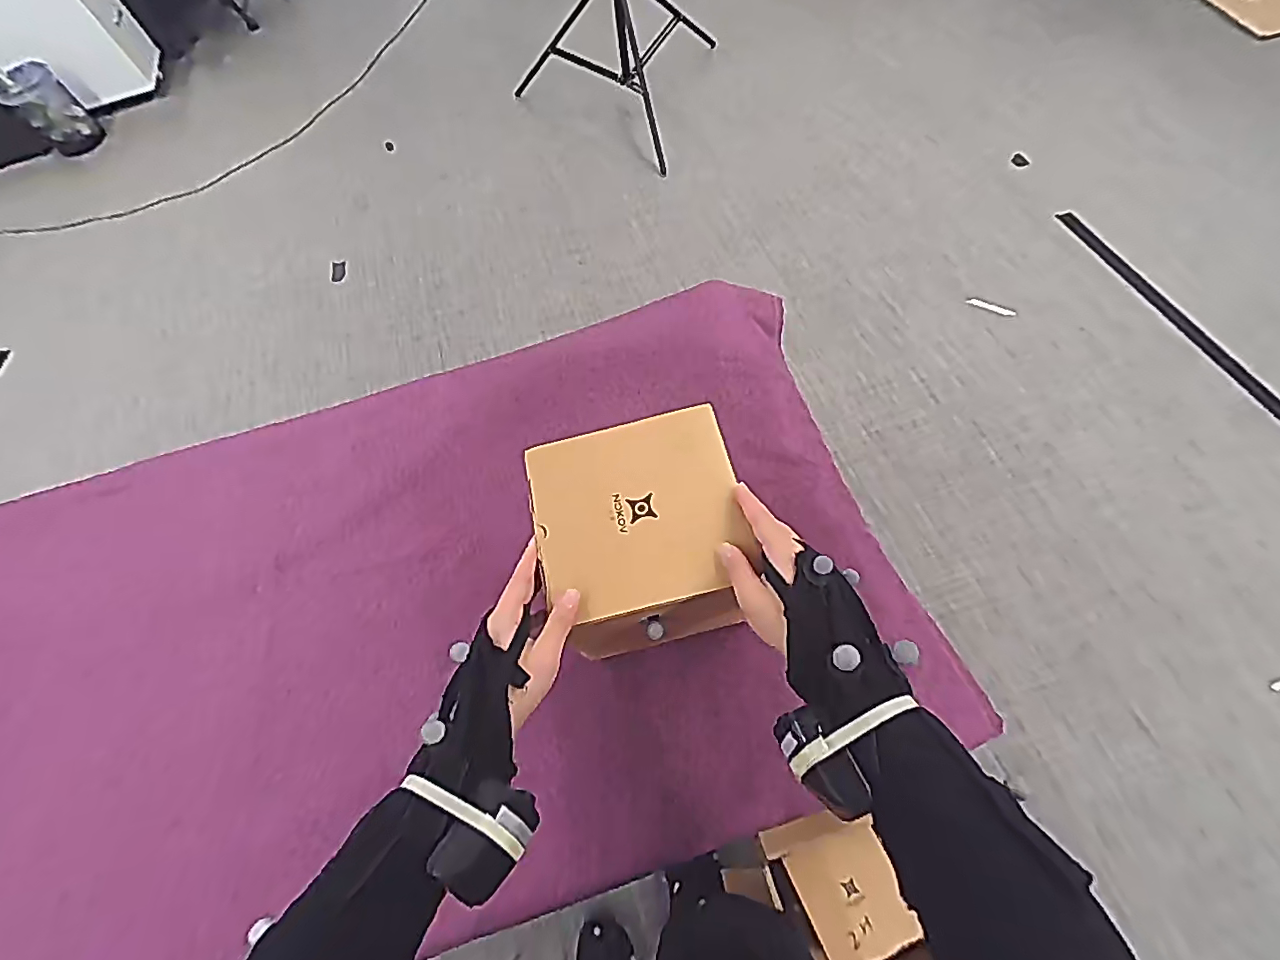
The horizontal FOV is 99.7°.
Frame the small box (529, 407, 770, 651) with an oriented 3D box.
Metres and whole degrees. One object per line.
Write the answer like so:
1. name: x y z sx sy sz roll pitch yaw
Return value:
1. small box: 0.009 0.058 0.524 0.179 0.176 0.168 -15 65 1
